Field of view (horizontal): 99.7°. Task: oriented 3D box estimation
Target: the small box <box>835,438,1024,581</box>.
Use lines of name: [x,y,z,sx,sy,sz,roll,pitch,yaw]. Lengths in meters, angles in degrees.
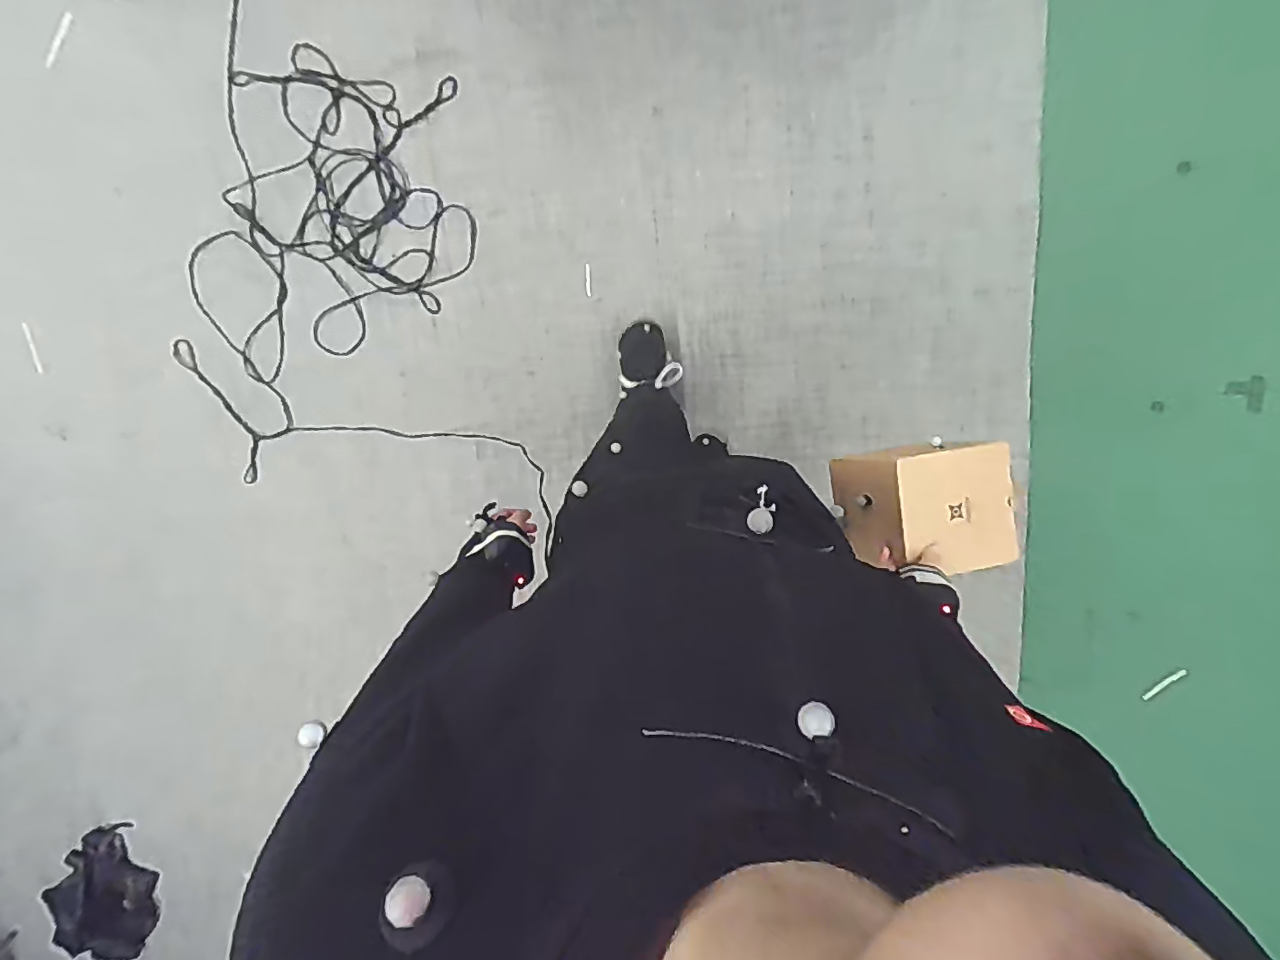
small box: [0.399,0.035,0.776,0.179,0.176,0.168,-9,94,-11]
